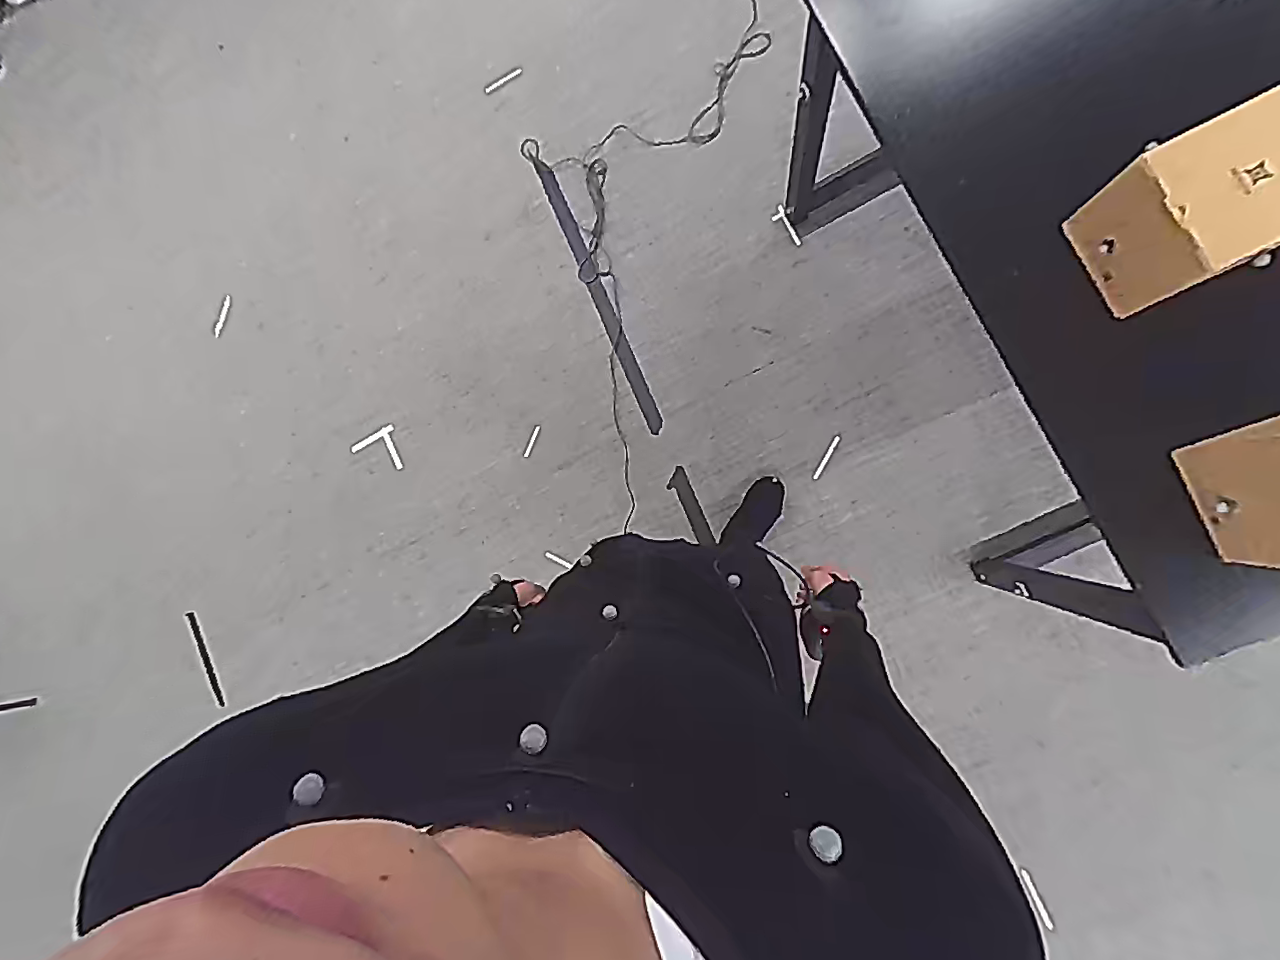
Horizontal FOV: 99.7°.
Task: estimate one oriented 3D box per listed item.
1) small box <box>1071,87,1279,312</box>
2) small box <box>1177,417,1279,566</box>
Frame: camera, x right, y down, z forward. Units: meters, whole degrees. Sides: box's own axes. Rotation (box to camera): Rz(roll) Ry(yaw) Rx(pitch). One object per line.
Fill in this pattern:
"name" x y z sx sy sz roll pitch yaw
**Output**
"small box" 0.724 -0.348 0.699 0.179 0.176 0.168 -26 83 9
"small box" 0.841 0.002 0.661 0.179 0.176 0.168 -20 83 10
